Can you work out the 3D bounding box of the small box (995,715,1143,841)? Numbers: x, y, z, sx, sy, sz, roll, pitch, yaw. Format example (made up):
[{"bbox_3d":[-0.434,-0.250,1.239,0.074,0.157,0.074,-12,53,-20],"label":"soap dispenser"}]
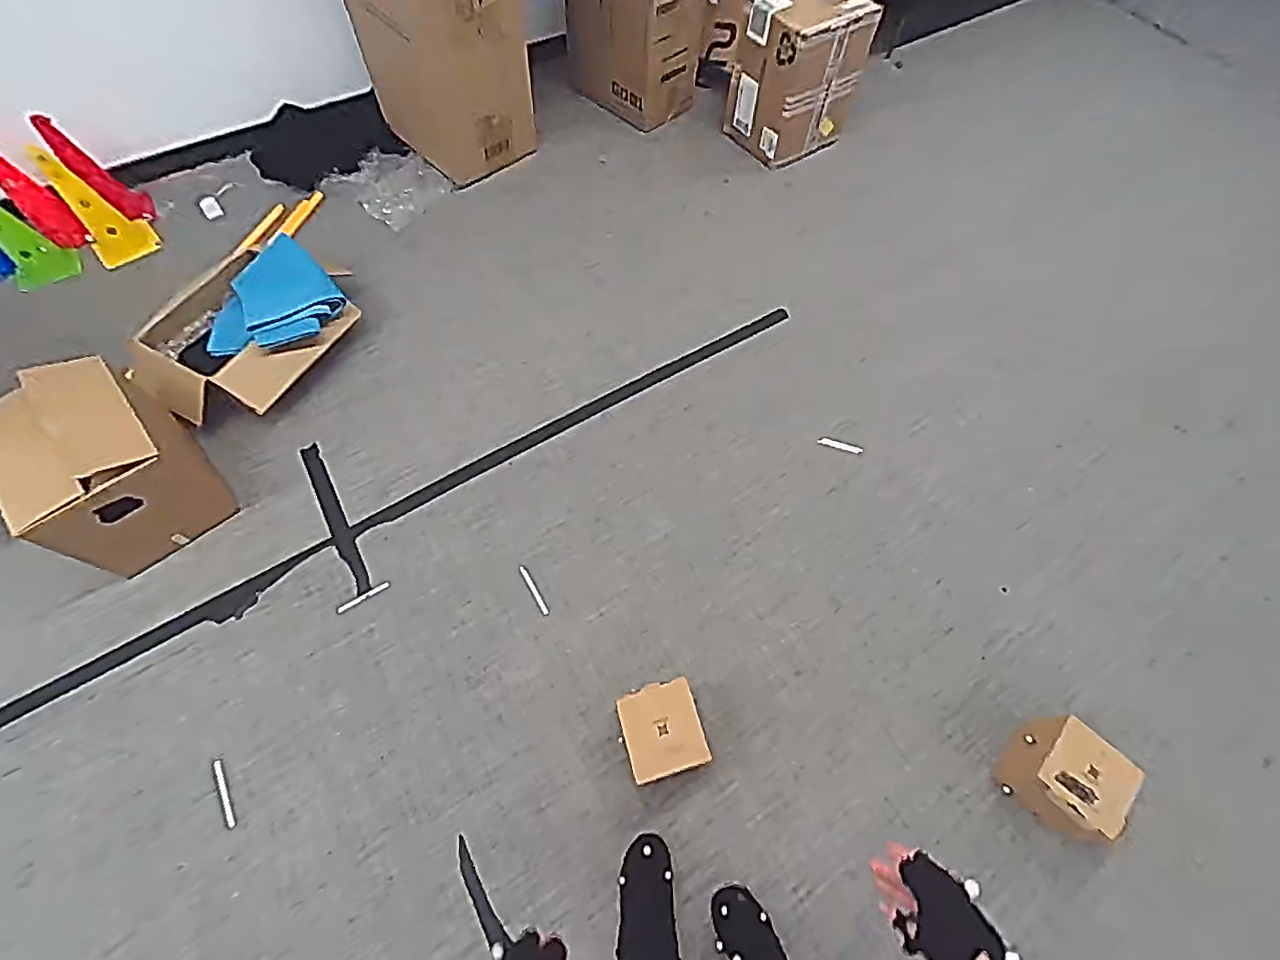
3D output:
[{"bbox_3d":[0.934,0.654,1.197,0.179,0.176,0.168,-40,70,-20],"label":"small box"}]

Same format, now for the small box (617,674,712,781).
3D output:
[{"bbox_3d":[0.048,0.561,1.223,0.168,0.176,0.179,-15,65,-8],"label":"small box"}]
